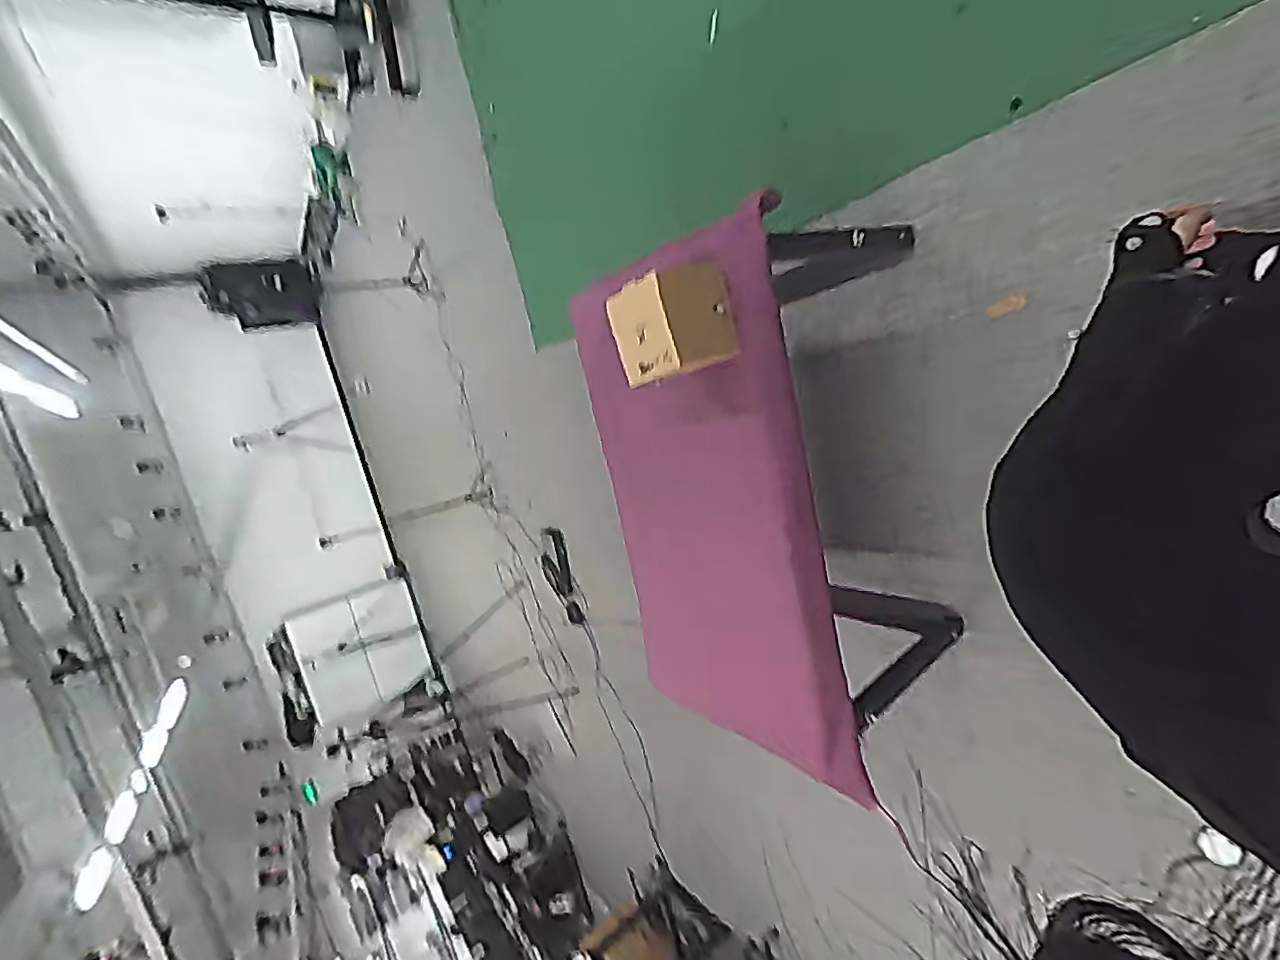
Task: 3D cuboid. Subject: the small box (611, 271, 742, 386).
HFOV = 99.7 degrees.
[{"bbox_3d":[0.074,-0.299,1.068,0.168,0.176,0.179,-7,101,56],"label":"small box"}]
